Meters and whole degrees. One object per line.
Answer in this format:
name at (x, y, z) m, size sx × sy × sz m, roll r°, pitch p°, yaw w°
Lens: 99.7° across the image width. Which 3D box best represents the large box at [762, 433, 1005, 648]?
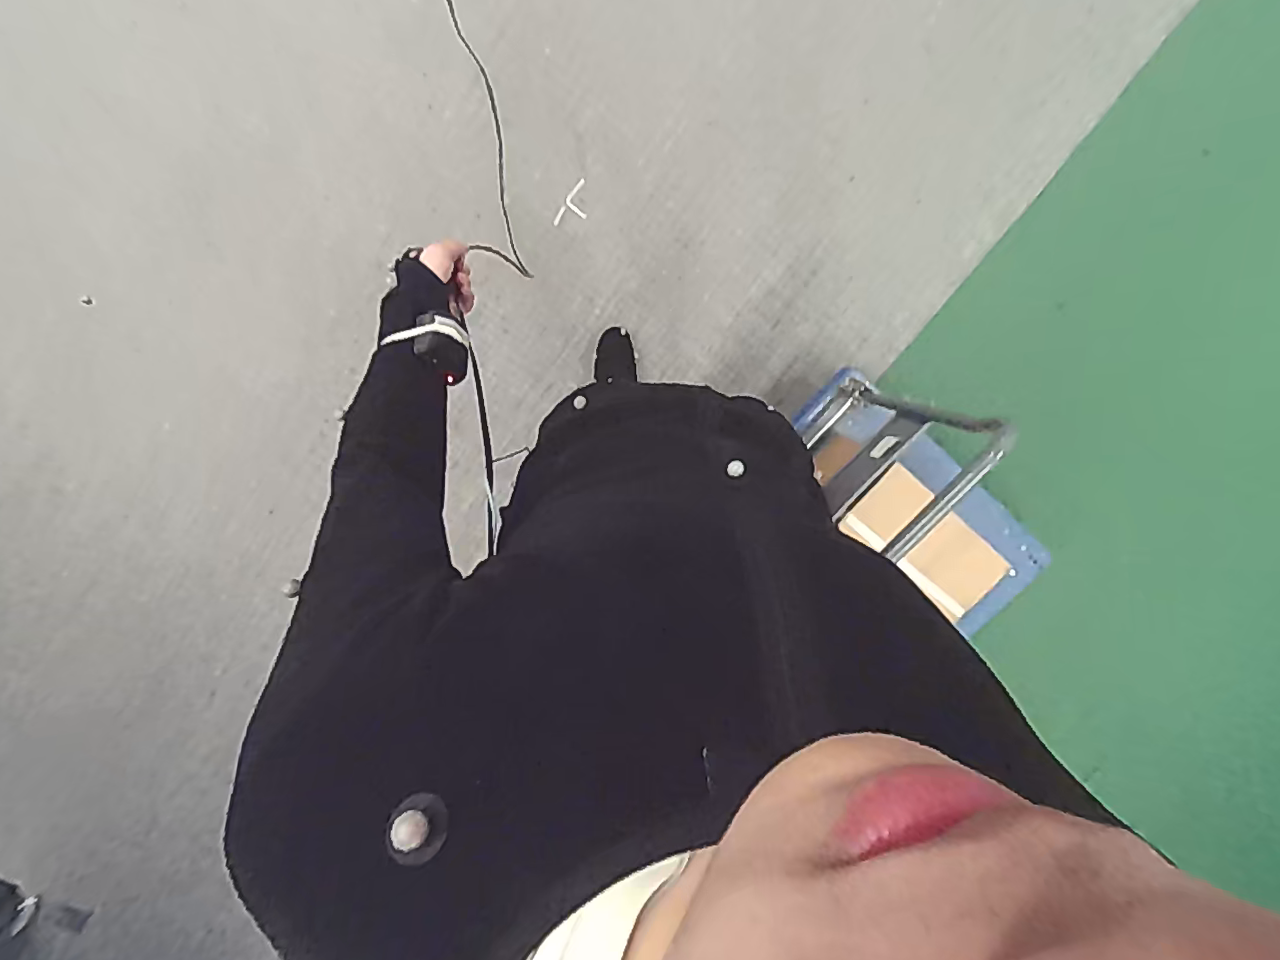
large box at (0.589, 0.137, 1.377) m, size 0.408 × 0.320 × 0.320 m, roll 38°, pitch 102°, yaw -13°
